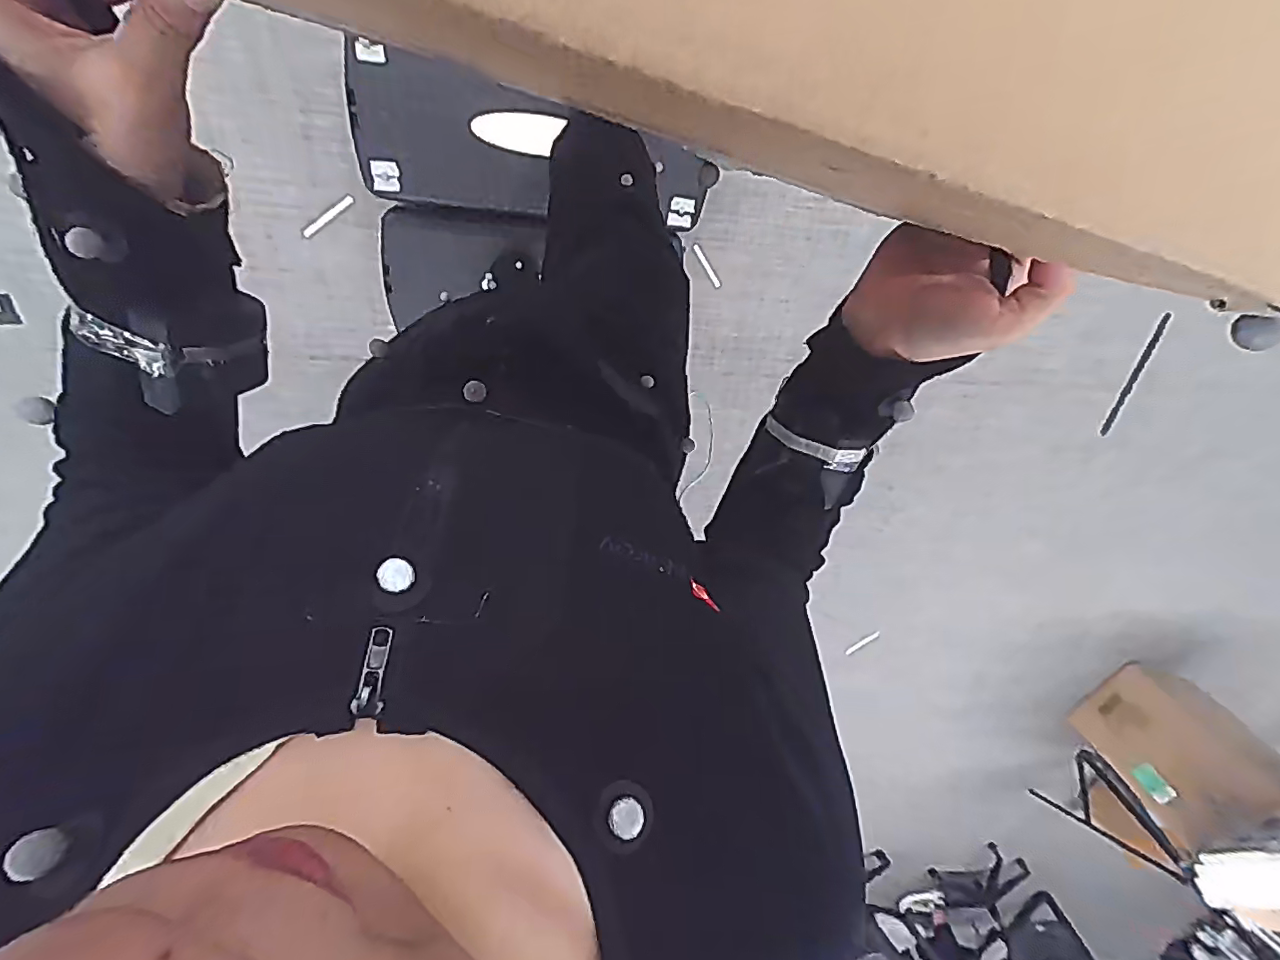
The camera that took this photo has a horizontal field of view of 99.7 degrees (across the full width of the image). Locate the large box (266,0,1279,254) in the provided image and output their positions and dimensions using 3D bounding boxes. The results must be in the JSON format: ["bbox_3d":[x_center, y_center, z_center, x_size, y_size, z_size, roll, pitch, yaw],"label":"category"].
[{"bbox_3d":[0.012,-0.297,0.150,0.408,0.320,0.320,10,123,-11],"label":"large box"}]

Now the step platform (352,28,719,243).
[{"bbox_3d":[-0.185,-0.682,1.071,0.684,0.204,0.286,5,120,-13],"label":"step platform"}]
